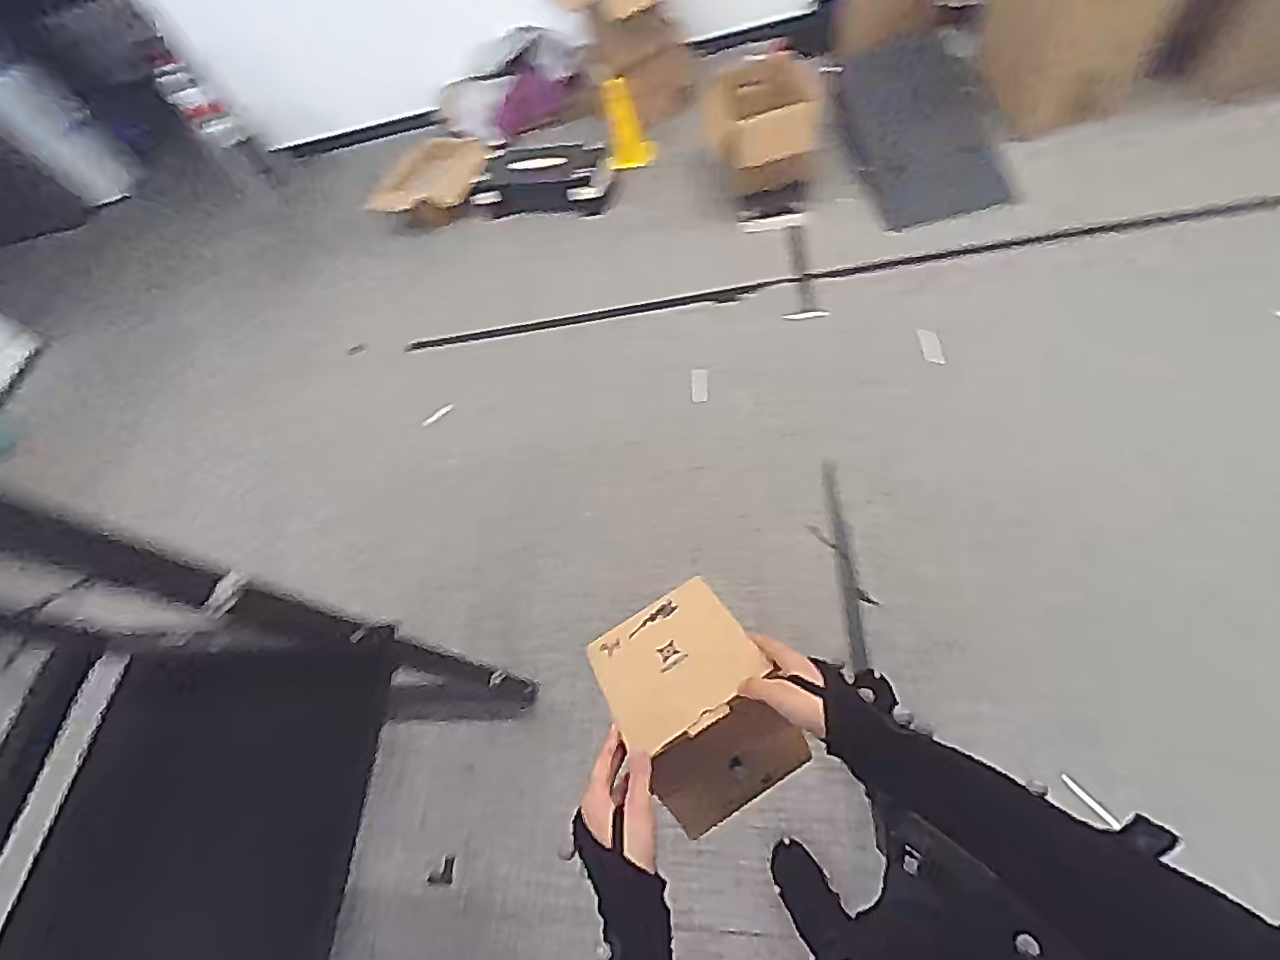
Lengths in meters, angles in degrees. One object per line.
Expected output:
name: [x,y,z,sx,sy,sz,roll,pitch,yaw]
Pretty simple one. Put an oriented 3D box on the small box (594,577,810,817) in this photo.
small box: [0.072,0.255,0.631,0.168,0.176,0.179,-30,32,-6]
